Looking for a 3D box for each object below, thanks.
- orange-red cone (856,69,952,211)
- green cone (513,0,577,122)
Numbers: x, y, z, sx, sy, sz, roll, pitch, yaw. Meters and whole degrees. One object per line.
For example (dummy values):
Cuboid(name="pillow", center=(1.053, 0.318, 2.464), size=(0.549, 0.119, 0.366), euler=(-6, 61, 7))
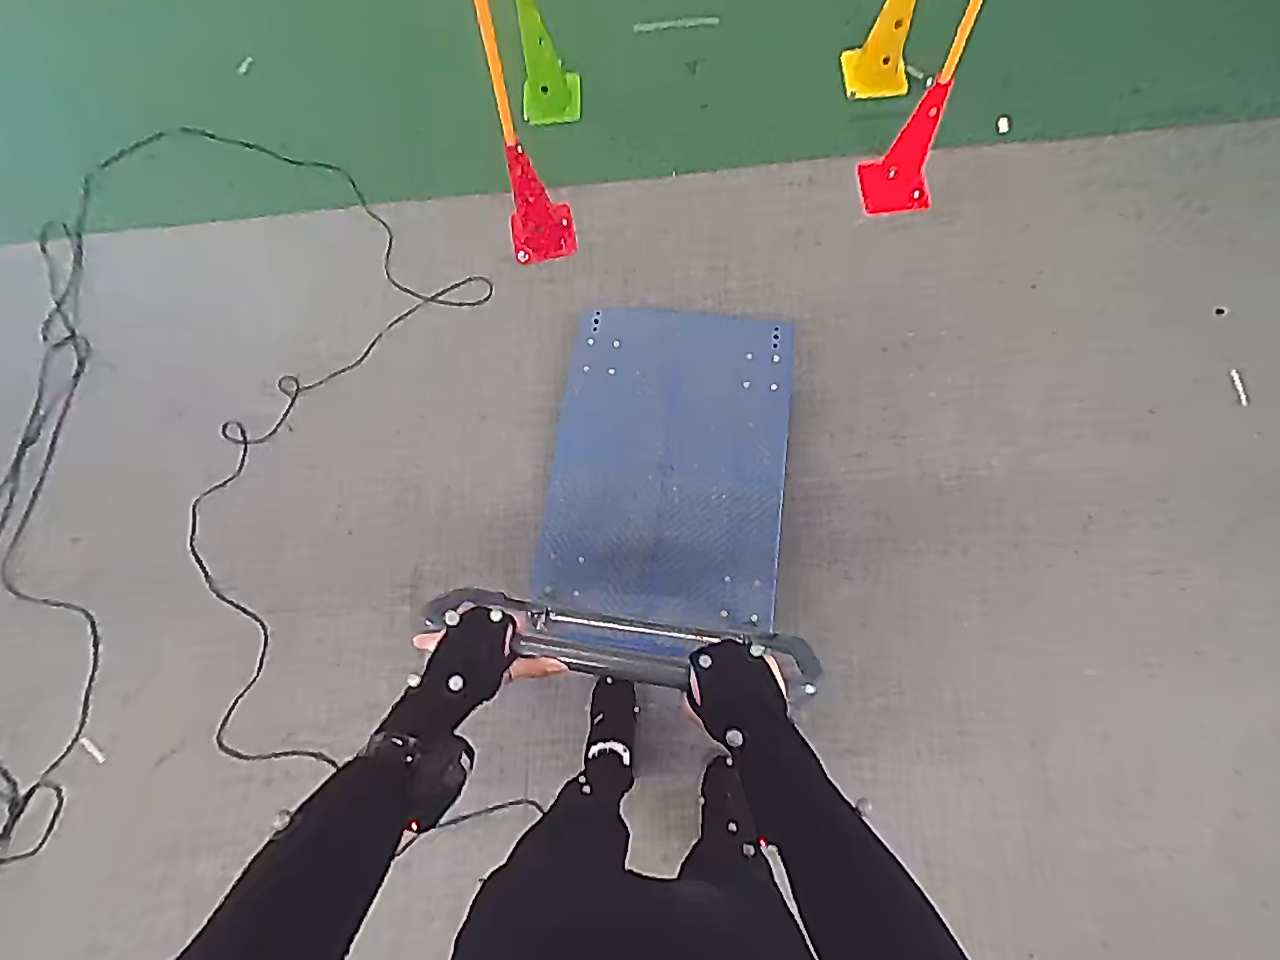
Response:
Cuboid(name="orange-red cone", center=(0.776, -0.976, 1.530), size=(0.198, 0.360, 0.199), euler=(-4, 73, 2))
Cuboid(name="green cone", center=(-0.332, -1.371, 1.707), size=(0.200, 0.368, 0.202), euler=(-4, 74, 4))
